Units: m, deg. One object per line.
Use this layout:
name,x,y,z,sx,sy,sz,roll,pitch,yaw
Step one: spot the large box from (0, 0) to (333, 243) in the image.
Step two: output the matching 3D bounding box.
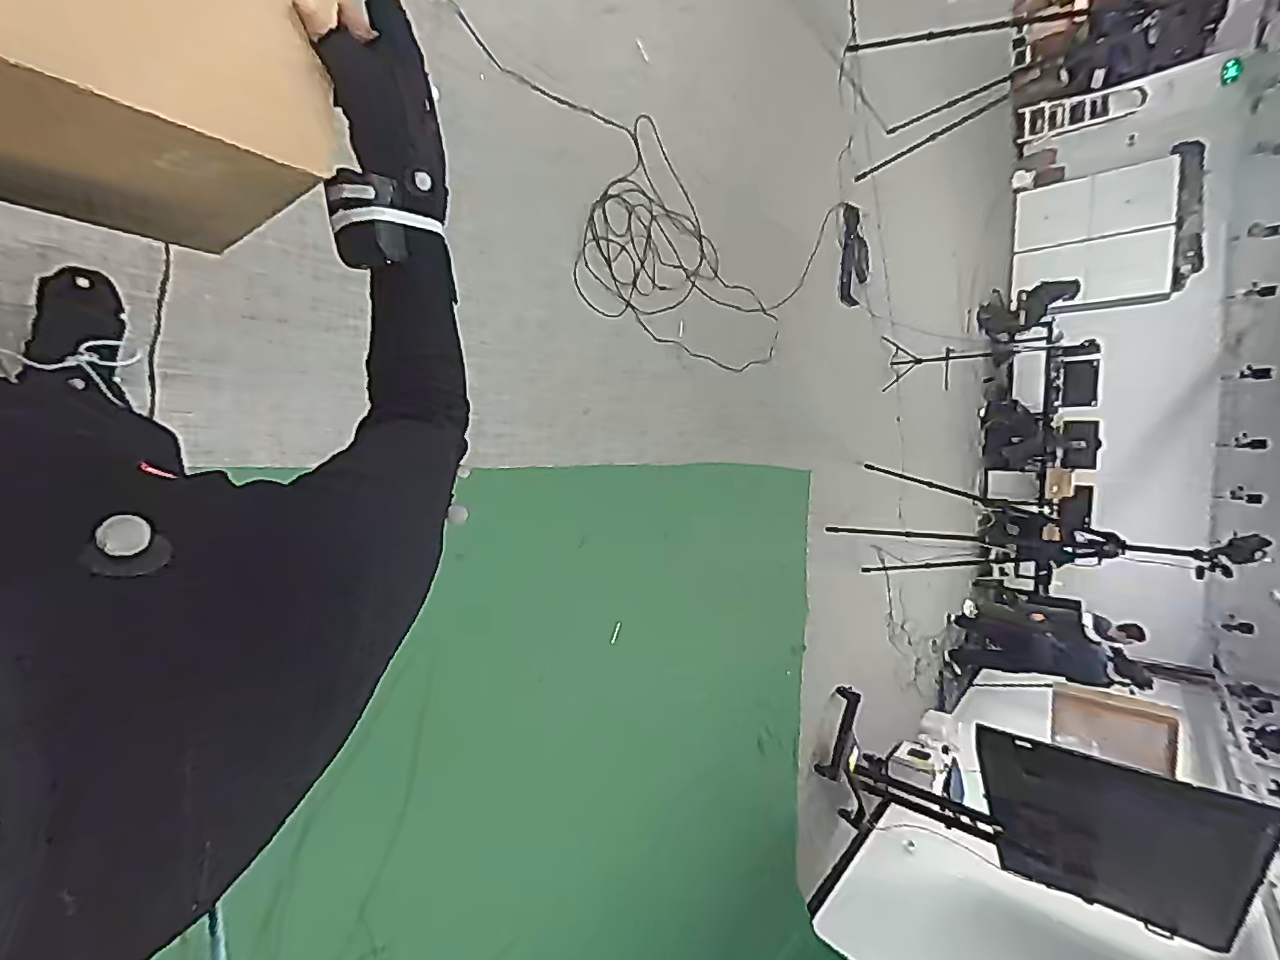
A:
large box,-0.465,-0.389,0.336,0.408,0.320,0.320,-1,97,-49
